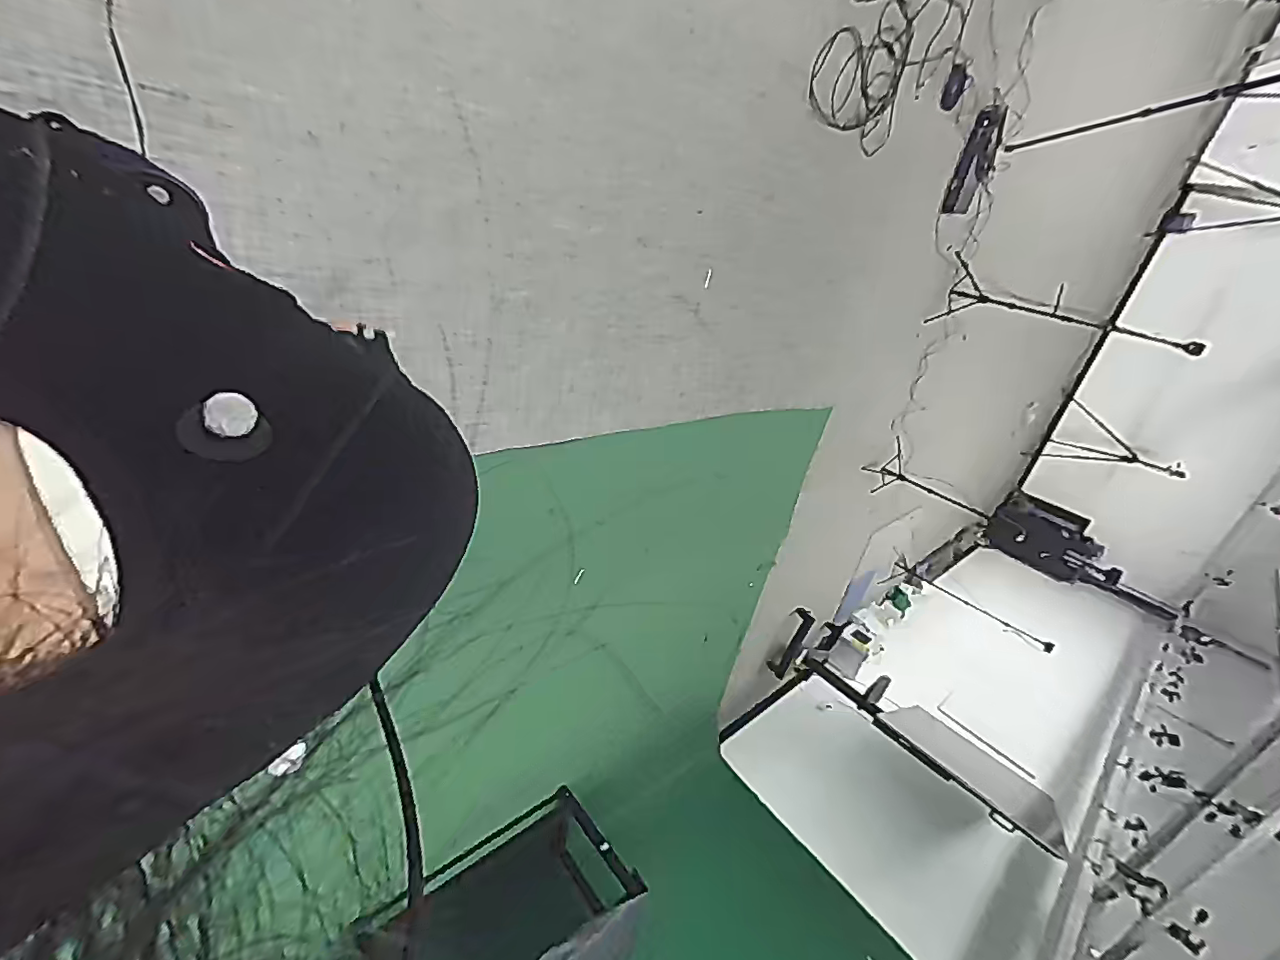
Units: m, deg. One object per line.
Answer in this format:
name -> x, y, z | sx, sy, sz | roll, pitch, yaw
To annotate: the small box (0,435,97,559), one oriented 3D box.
small box -> -1.133, 0.027, 0.992 | 0.179, 0.176, 0.168 | -12, 124, -41
